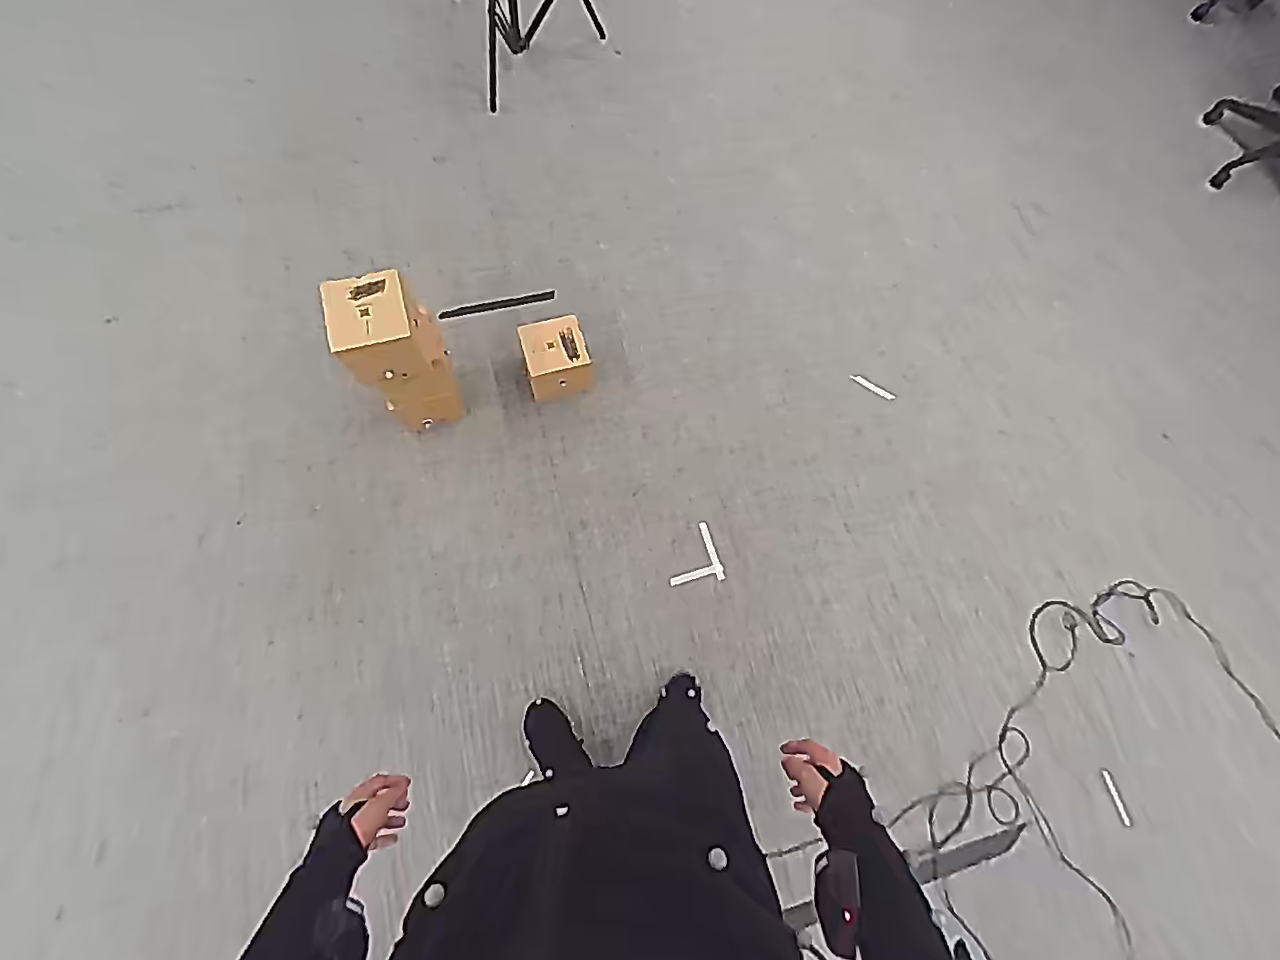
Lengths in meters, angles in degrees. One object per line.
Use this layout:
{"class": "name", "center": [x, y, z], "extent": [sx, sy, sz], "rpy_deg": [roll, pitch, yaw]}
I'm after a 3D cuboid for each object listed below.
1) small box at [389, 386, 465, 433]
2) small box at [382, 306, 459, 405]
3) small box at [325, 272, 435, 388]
{"class": "small box", "center": [-0.612, -0.258, 1.539], "extent": [0.168, 0.176, 0.179], "rpy_deg": [-17, 76, -10]}
{"class": "small box", "center": [-0.586, -0.312, 1.386], "extent": [0.179, 0.176, 0.168], "rpy_deg": [-18, 75, -10]}
{"class": "small box", "center": [-0.580, -0.334, 1.221], "extent": [0.168, 0.176, 0.179], "rpy_deg": [-15, 76, -8]}
